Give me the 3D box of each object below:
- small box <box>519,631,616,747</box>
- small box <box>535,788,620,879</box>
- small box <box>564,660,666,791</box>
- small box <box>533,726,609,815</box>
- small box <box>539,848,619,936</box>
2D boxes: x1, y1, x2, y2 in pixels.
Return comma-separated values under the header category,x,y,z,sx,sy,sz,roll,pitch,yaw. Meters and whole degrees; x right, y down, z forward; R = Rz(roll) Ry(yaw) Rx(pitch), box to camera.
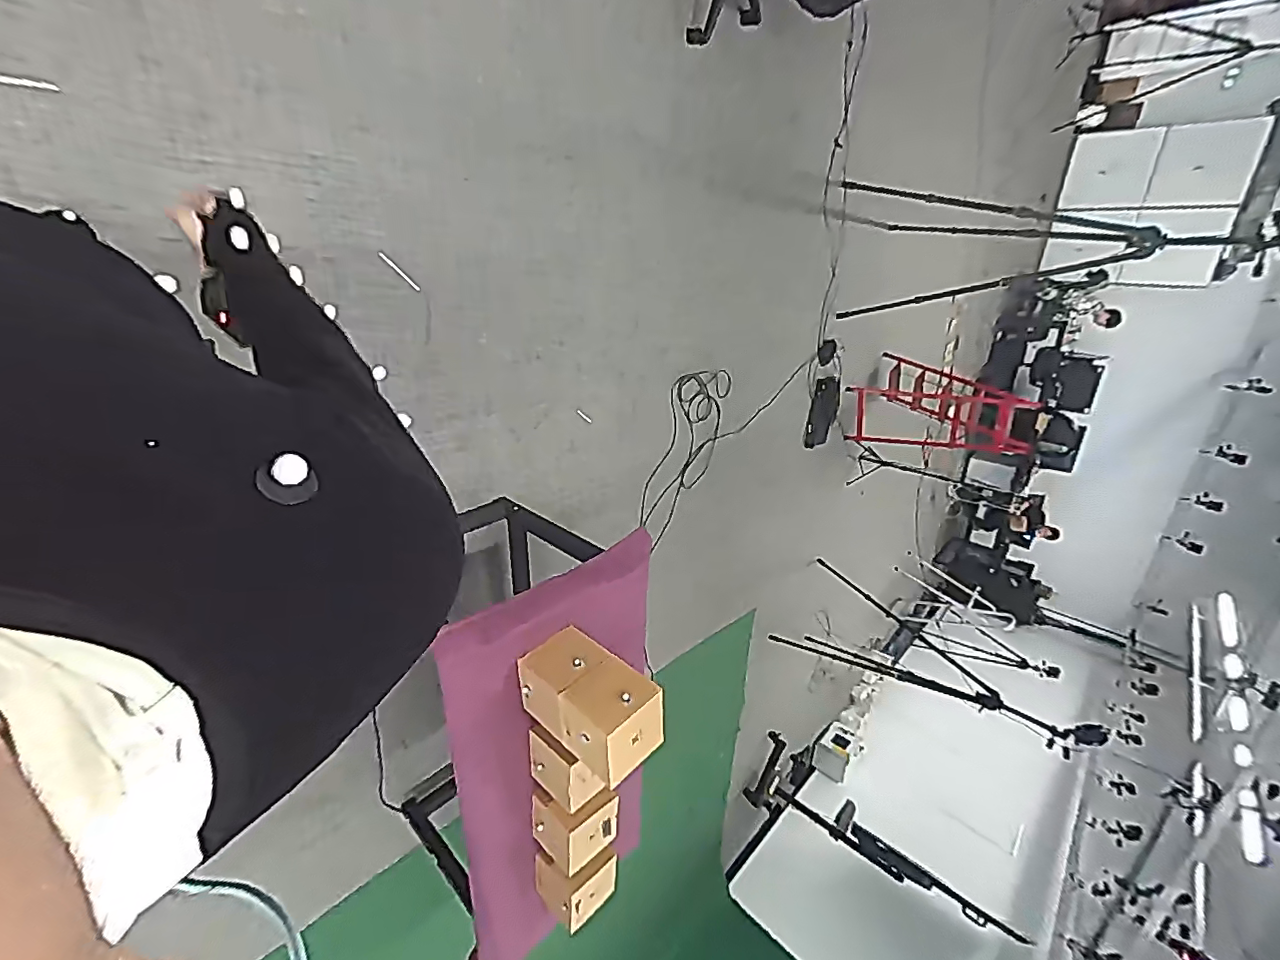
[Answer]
category,x,y,z,sx,sy,sz,roll,pitch,yaw
small box,-0.175,0.508,1.346,0.179,0.176,0.168,-25,123,-40
small box,-0.178,0.955,1.532,0.179,0.176,0.168,-16,117,-43
small box,-0.061,0.553,1.239,0.179,0.176,0.168,-25,123,-41
small box,-0.167,0.735,1.450,0.179,0.176,0.168,-19,119,-43
small box,-0.184,1.184,1.621,0.179,0.176,0.168,-18,118,-44
